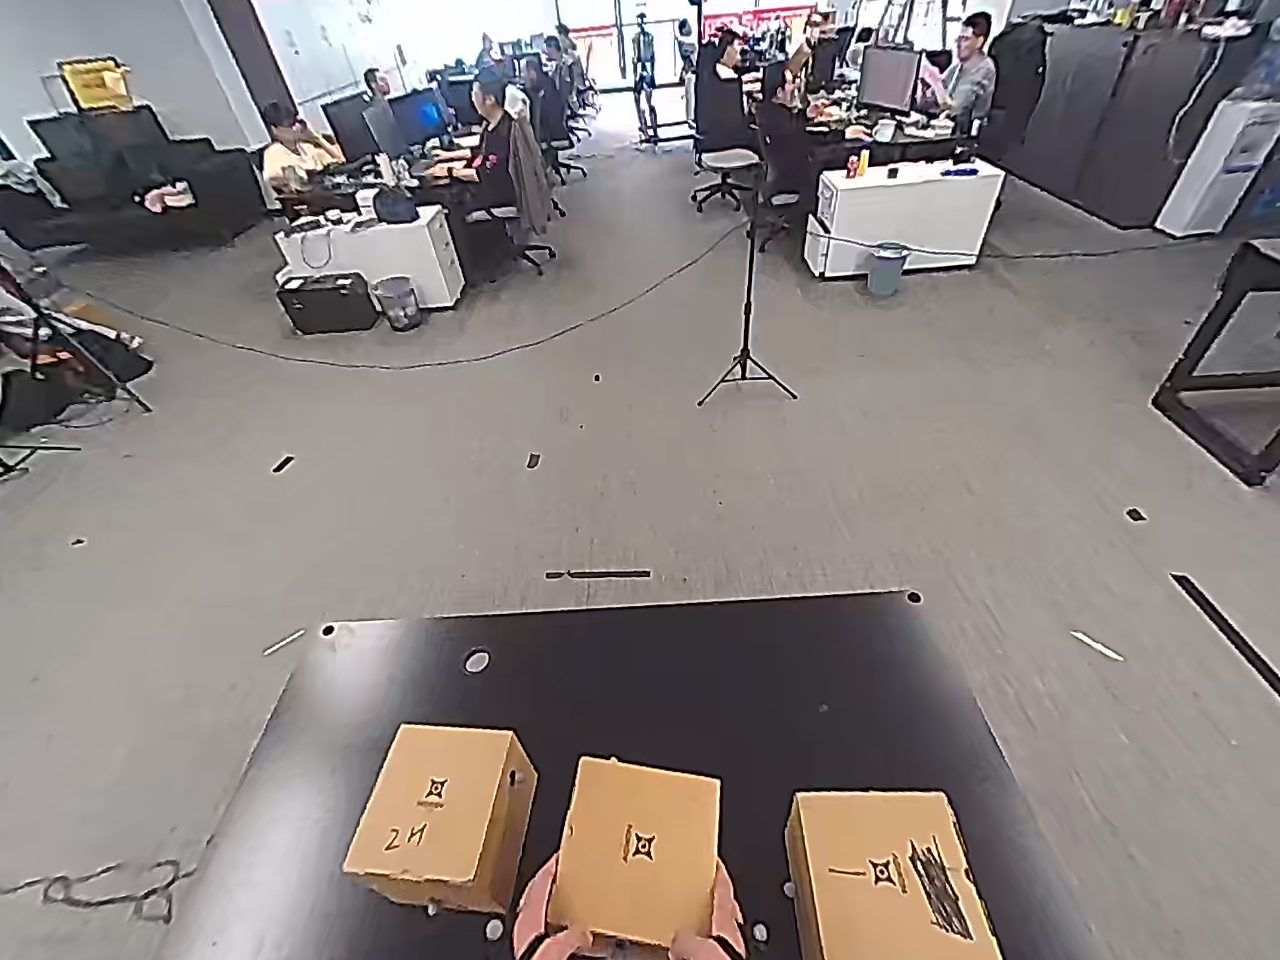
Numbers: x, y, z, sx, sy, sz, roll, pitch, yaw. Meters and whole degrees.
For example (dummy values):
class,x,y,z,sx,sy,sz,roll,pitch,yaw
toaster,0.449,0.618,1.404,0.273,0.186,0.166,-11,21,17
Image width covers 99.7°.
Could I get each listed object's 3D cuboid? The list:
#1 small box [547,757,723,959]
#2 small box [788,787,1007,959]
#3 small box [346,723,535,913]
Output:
class,x,y,z,sx,sy,sz,roll,pitch,yaw
small box,0.001,0.460,0.647,0.179,0.176,0.168,5,42,5
small box,0.283,0.482,0.640,0.179,0.176,0.168,-4,42,5
small box,-0.252,0.459,0.738,0.168,0.176,0.179,0,43,7
